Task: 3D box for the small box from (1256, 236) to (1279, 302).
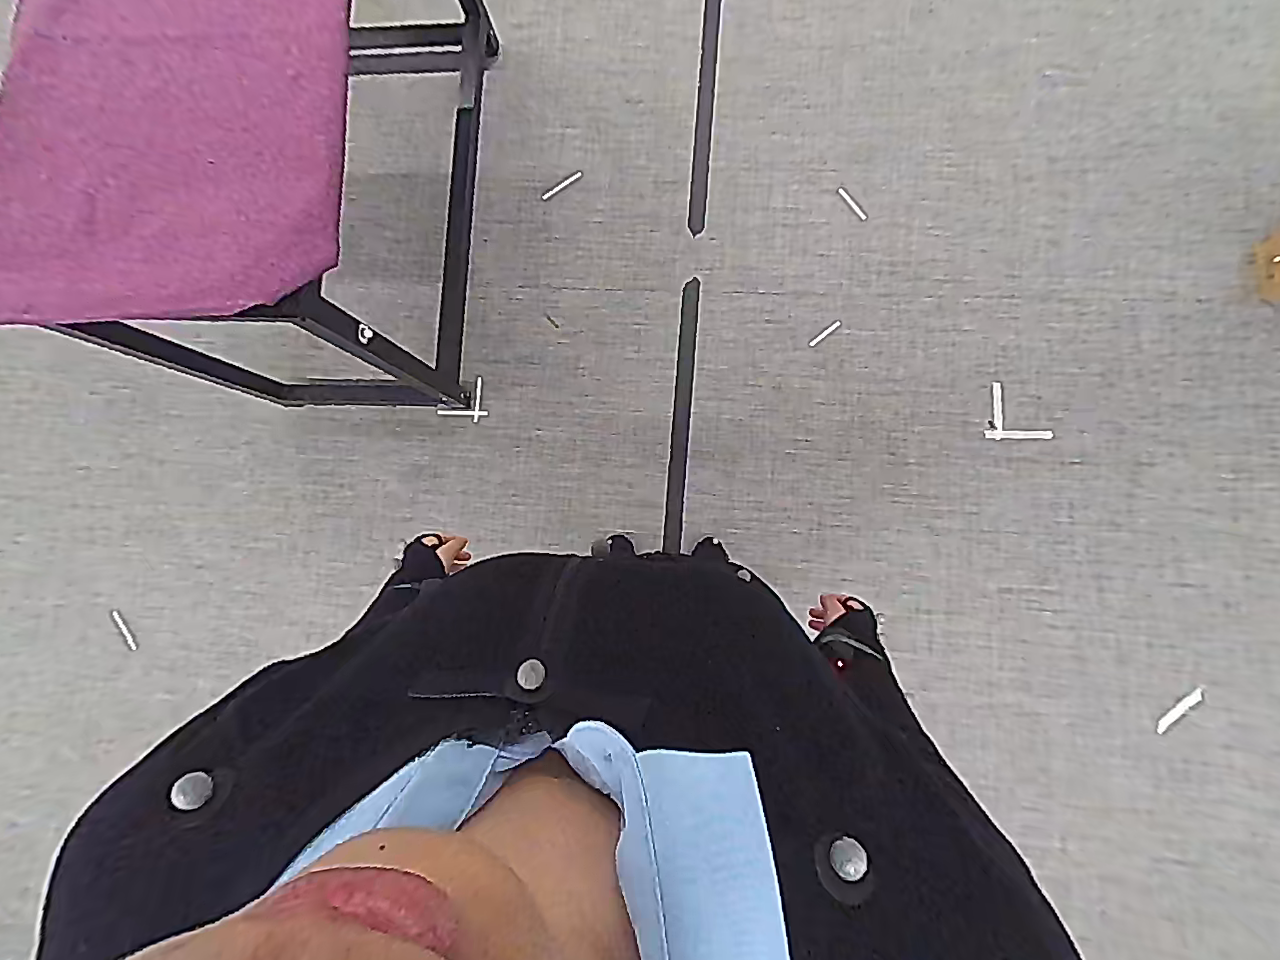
[{"bbox_3d":[1.754,-0.567,1.376,0.179,0.176,0.168,-2,84,4],"label":"small box"}]
